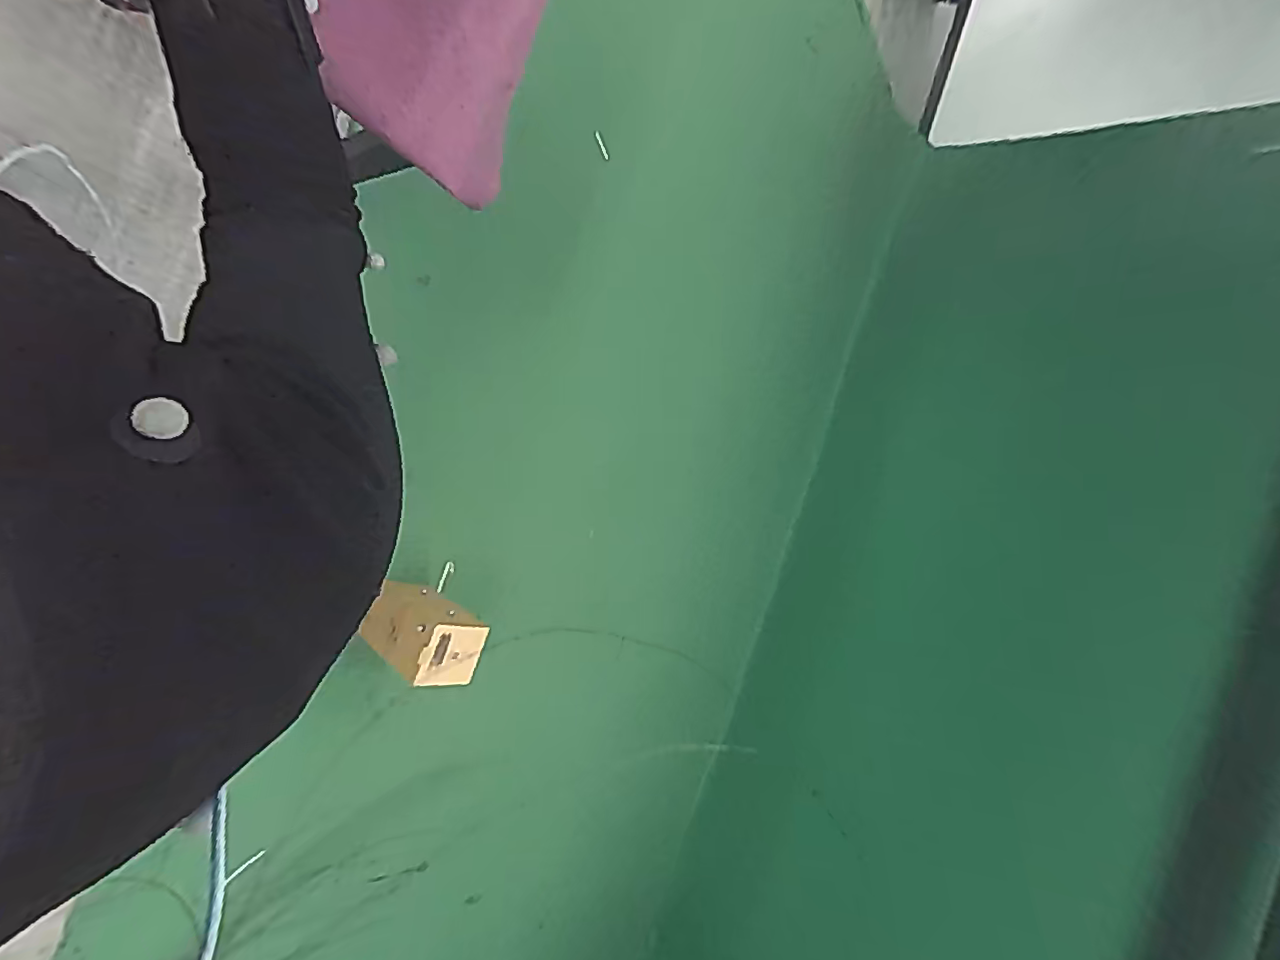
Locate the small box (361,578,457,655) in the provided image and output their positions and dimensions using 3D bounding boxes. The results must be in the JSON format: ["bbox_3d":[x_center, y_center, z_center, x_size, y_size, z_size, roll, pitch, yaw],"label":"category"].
[{"bbox_3d":[-0.681,0.397,1.585,0.179,0.176,0.168,25,85,-51],"label":"small box"}]
